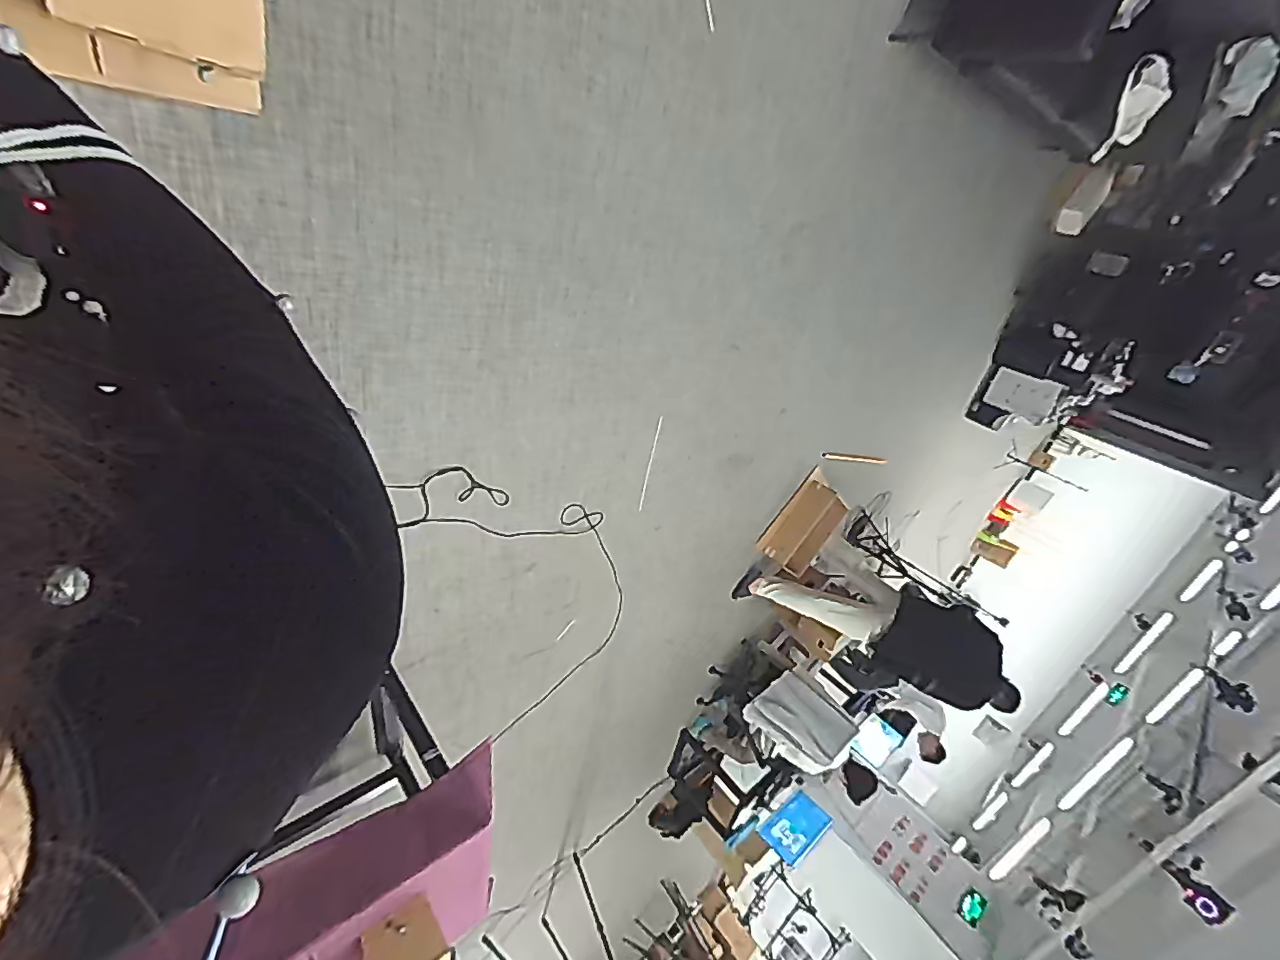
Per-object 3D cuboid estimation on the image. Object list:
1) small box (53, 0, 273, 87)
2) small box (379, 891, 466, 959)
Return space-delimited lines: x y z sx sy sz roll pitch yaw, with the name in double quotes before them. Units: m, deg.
"small box" -0.489 -0.532 0.549 0.168 0.176 0.179 -10 125 -42
"small box" -0.576 1.248 1.431 0.168 0.176 0.179 -16 130 -39
